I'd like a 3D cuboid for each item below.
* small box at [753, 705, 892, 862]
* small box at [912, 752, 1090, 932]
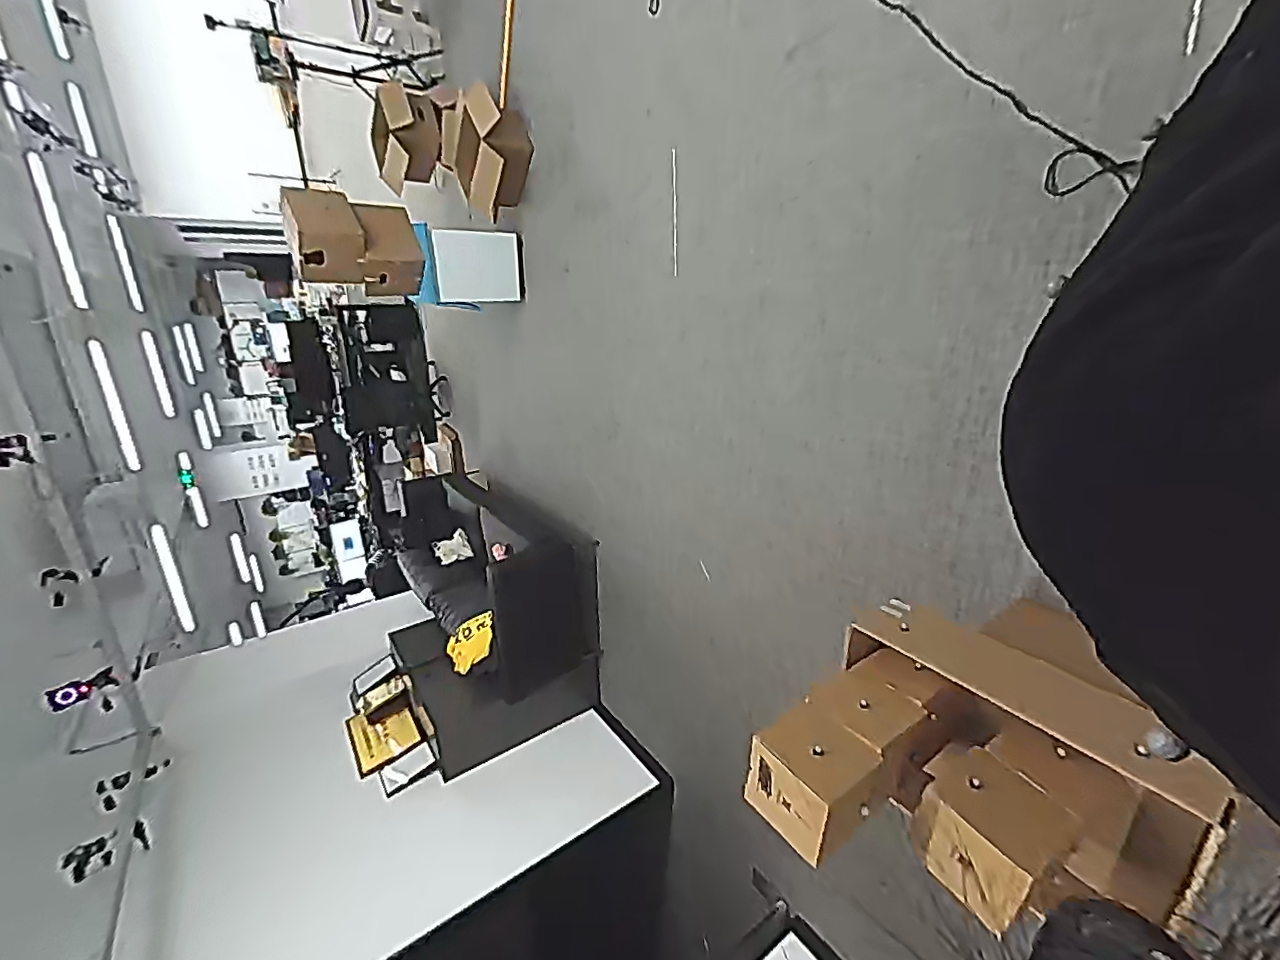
[{"bbox_3d":[0.345,0.563,1.036,0.179,0.176,0.168,29,125,48],"label":"small box"},{"bbox_3d":[0.619,0.607,0.937,0.179,0.176,0.168,36,132,49],"label":"small box"}]
